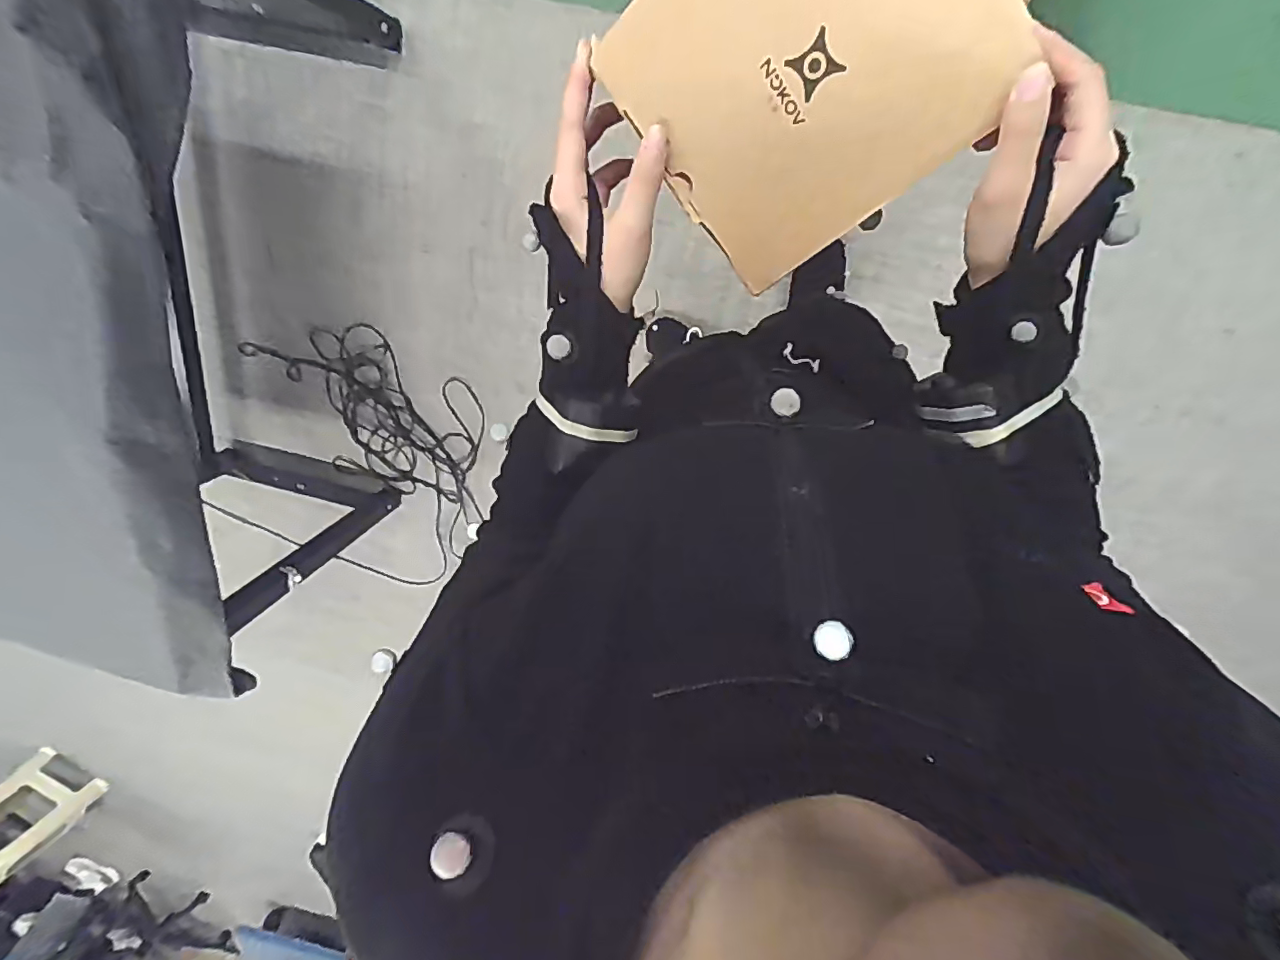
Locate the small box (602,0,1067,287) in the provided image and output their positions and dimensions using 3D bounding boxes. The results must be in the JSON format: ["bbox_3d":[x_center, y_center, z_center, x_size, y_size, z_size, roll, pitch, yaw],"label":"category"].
[{"bbox_3d":[0.107,-0.262,0.334,0.179,0.176,0.168,-29,116,33],"label":"small box"}]
